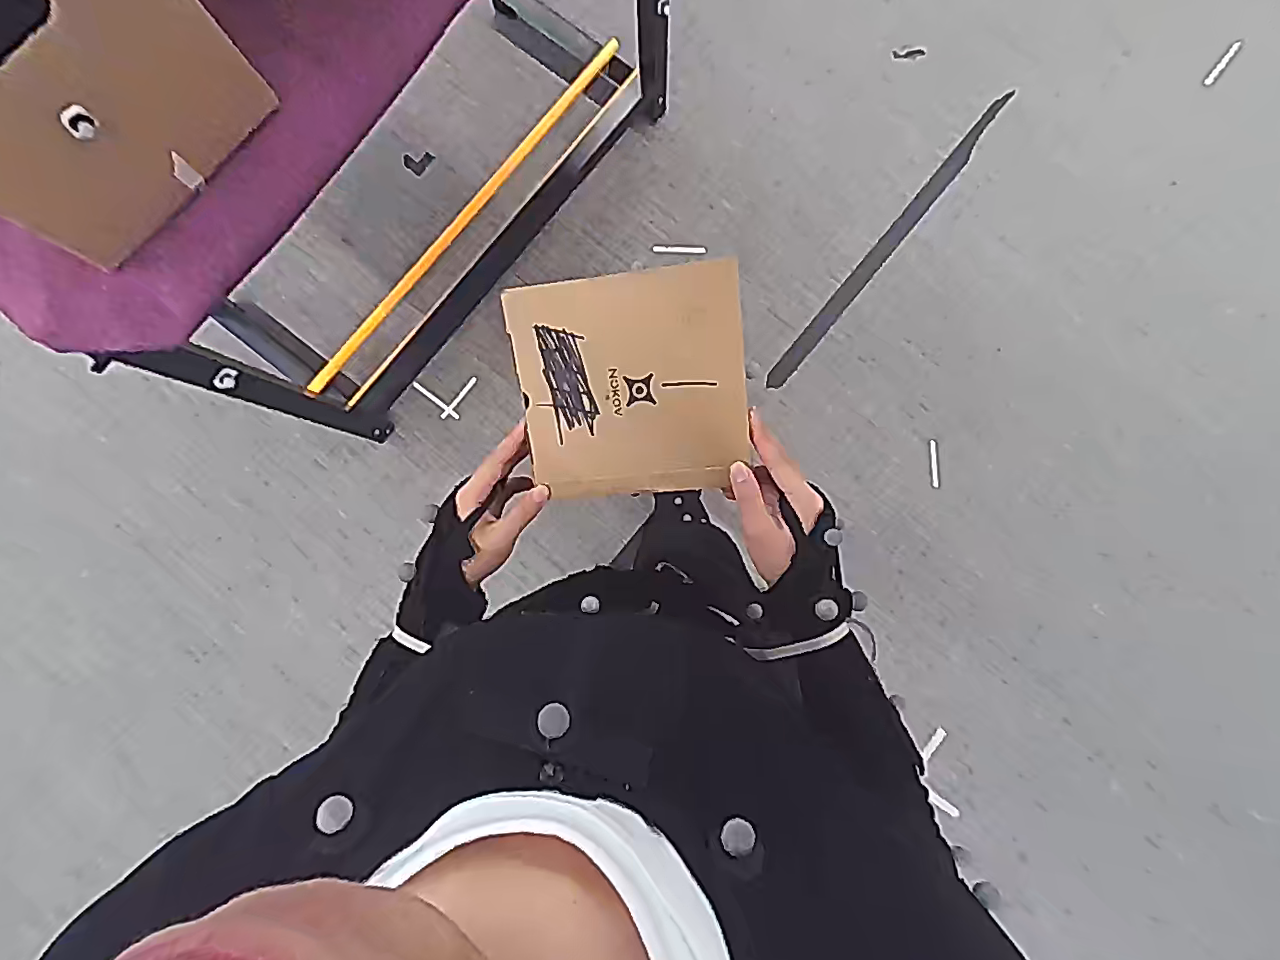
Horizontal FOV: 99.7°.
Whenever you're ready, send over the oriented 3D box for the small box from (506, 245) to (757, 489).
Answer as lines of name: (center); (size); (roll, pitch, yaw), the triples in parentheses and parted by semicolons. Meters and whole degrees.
small box: (0.006, -0.096, 0.475); (0.179, 0.176, 0.168); (-5, 105, 9)
